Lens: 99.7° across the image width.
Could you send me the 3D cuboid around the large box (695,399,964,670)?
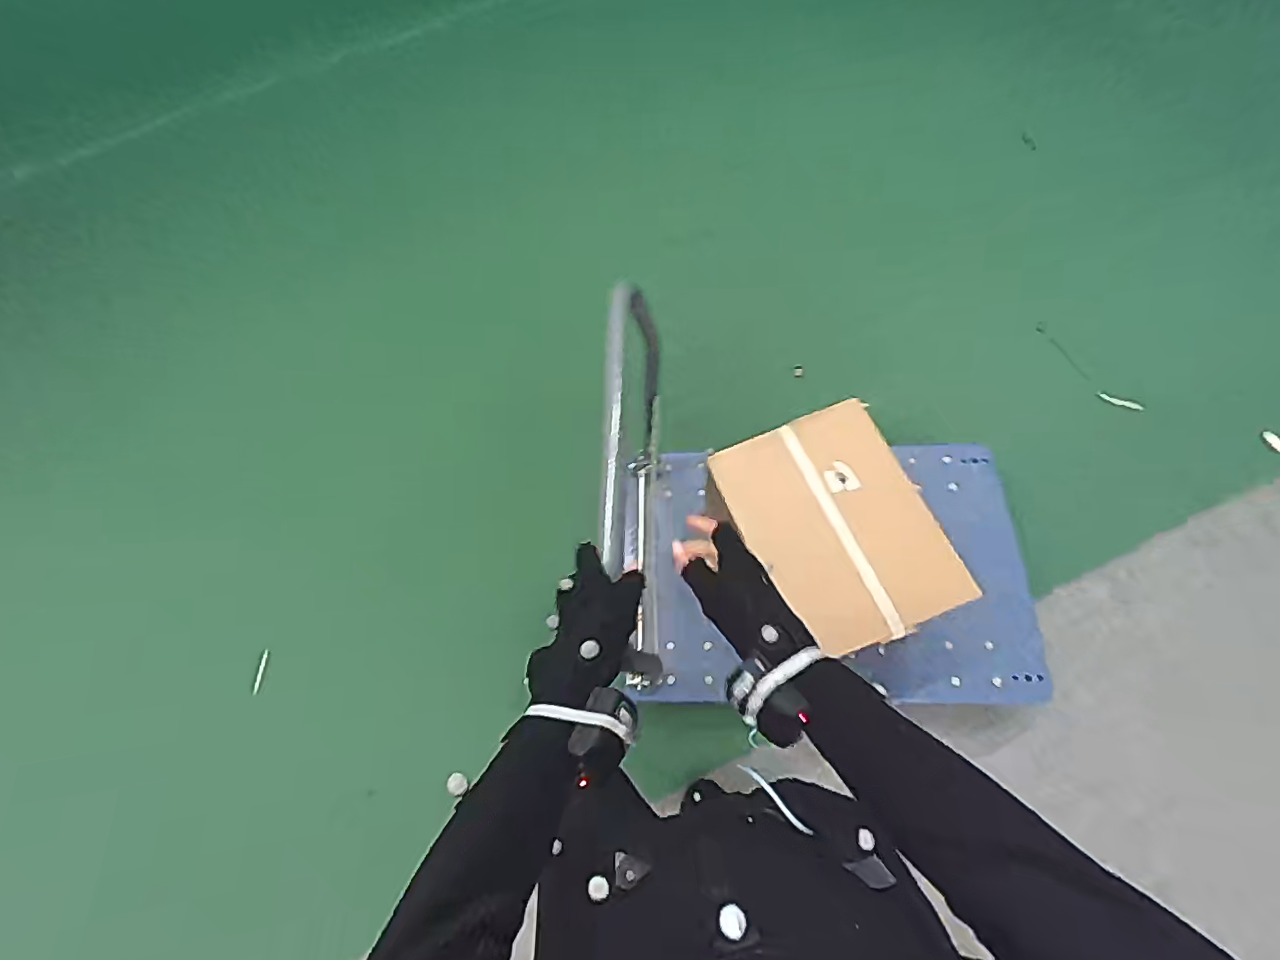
[{"bbox_3d":[0.336,0.123,1.088,0.320,0.320,0.408,-22,67,-3],"label":"large box"}]
